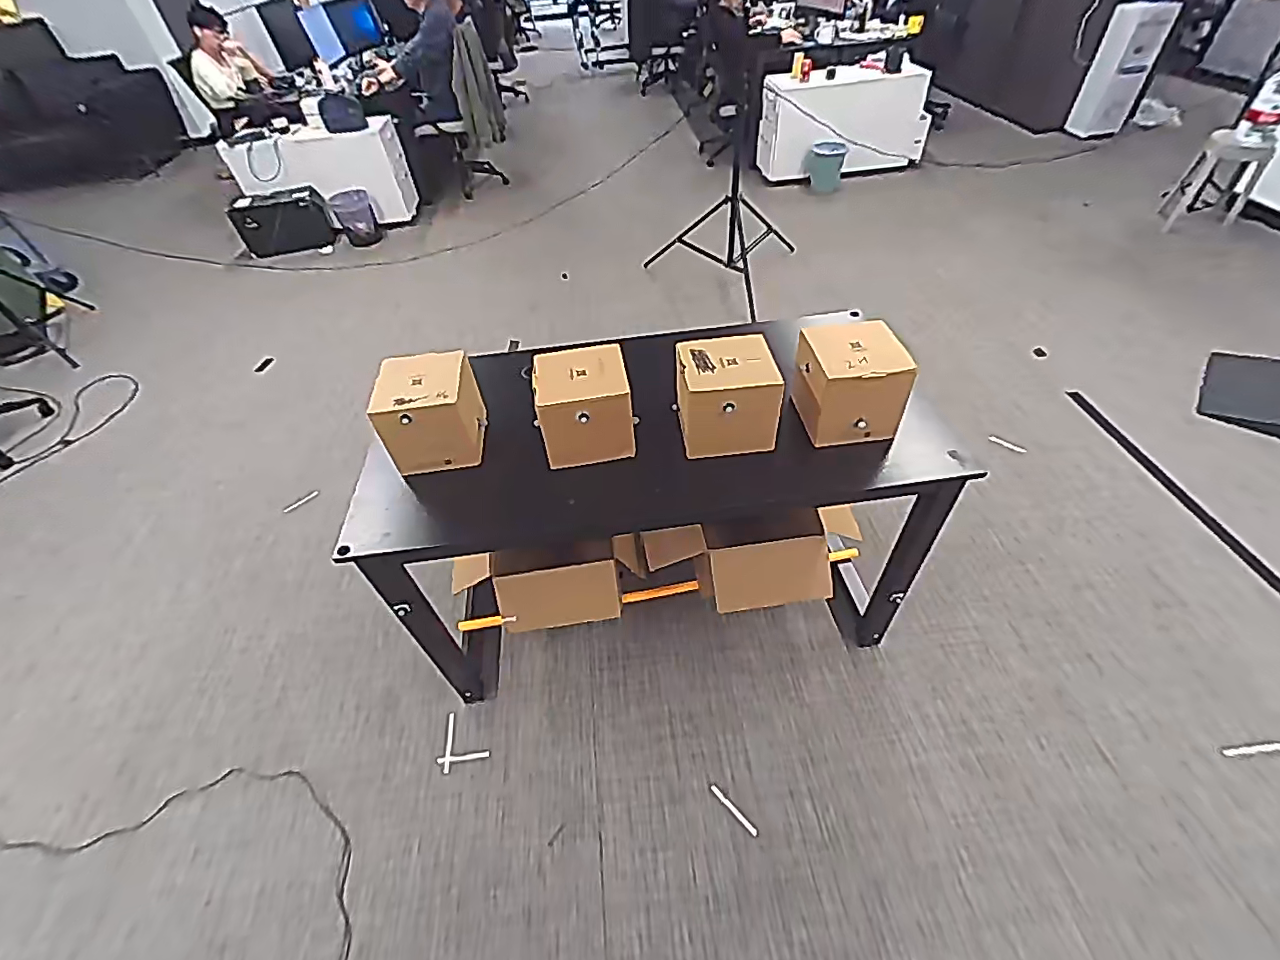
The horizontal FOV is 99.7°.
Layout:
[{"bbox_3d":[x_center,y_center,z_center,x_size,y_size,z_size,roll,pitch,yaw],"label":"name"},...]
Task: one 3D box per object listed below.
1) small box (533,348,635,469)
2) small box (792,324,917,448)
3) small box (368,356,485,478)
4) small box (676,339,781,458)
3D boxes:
[{"bbox_3d":[-0.111,-0.139,1.086,0.179,0.176,0.168,-9,47,-4],"label":"small box"},{"bbox_3d":[0.412,-0.187,1.077,0.168,0.176,0.179,-7,46,0],"label":"small box"},{"bbox_3d":[-0.421,-0.129,1.102,0.168,0.176,0.179,-8,46,-3],"label":"small box"},{"bbox_3d":[0.169,-0.158,1.074,0.179,0.176,0.168,-5,46,0],"label":"small box"}]
